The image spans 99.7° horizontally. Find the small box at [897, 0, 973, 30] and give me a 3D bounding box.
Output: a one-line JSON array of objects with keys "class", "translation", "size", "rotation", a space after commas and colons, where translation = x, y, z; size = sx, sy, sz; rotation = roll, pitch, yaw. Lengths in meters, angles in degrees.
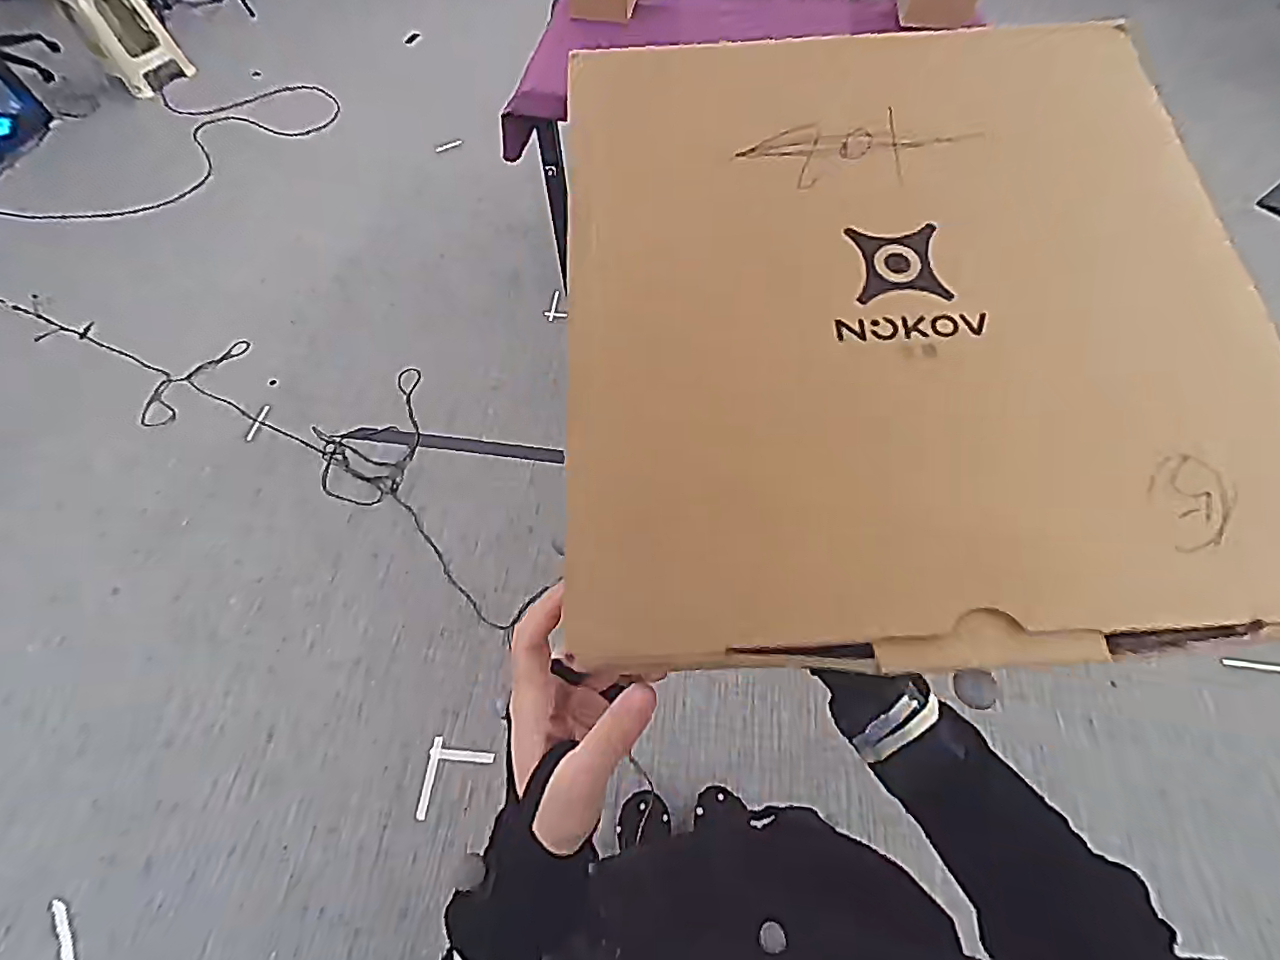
[{"class": "small box", "translation": [0.807, -1.347, 1.451], "size": [0.179, 0.176, 0.168], "rotation": [7, 62, 4]}]

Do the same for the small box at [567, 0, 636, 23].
[{"class": "small box", "translation": [-0.111, -1.423, 1.515], "size": [0.179, 0.176, 0.168], "rotation": [9, 64, 5]}]

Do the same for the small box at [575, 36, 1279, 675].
[{"class": "small box", "translation": [0.067, -0.021, 0.211], "size": [0.168, 0.176, 0.179], "rotation": [-3, 70, 0]}]
